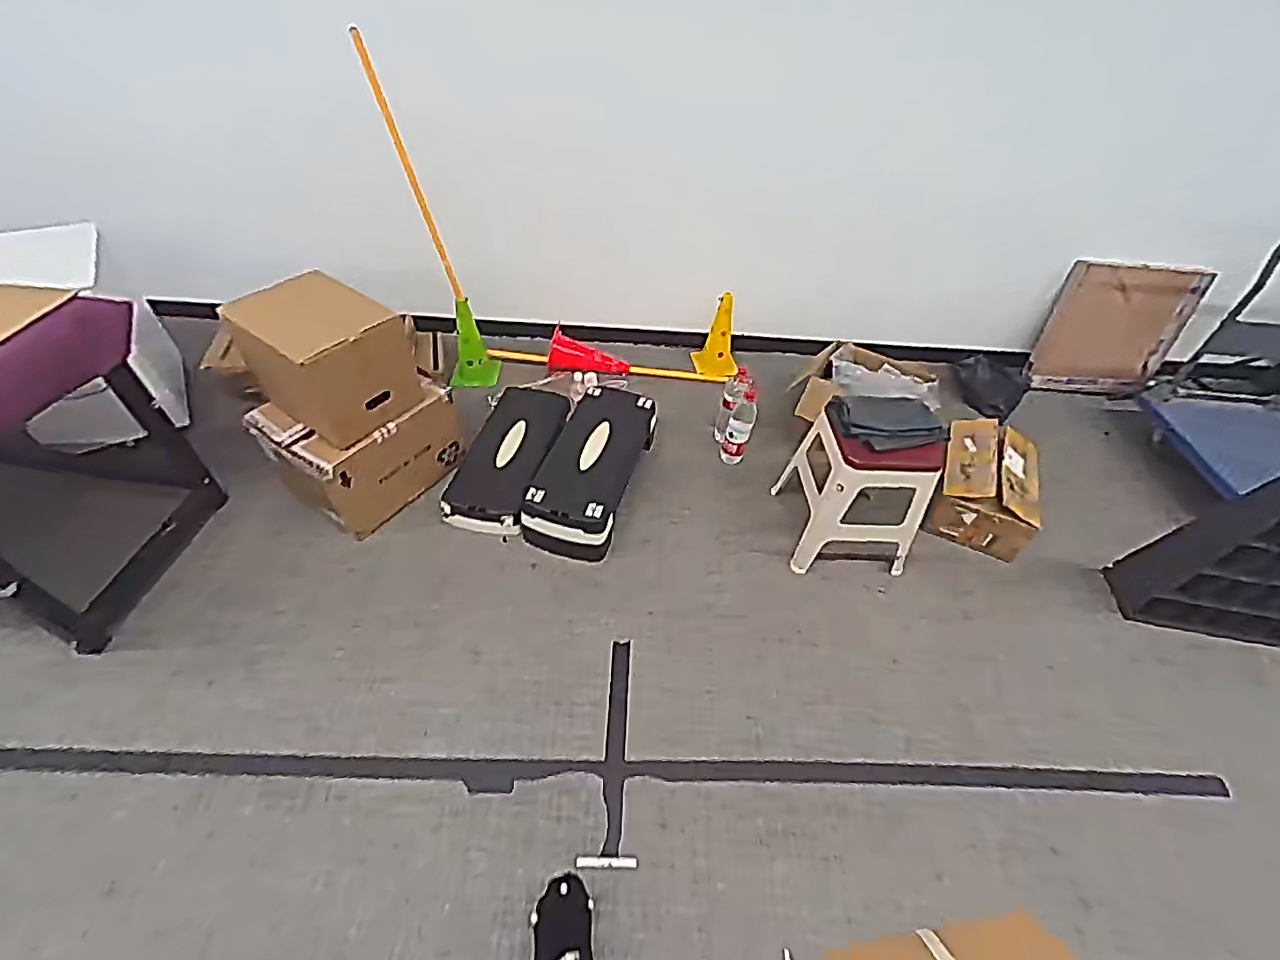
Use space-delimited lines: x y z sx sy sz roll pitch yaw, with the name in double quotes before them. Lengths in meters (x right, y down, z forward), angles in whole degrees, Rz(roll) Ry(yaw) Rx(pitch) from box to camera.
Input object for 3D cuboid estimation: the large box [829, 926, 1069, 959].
"large box" 0.441 0.790 0.570 0.320 0.408 0.320 -9 84 -1
